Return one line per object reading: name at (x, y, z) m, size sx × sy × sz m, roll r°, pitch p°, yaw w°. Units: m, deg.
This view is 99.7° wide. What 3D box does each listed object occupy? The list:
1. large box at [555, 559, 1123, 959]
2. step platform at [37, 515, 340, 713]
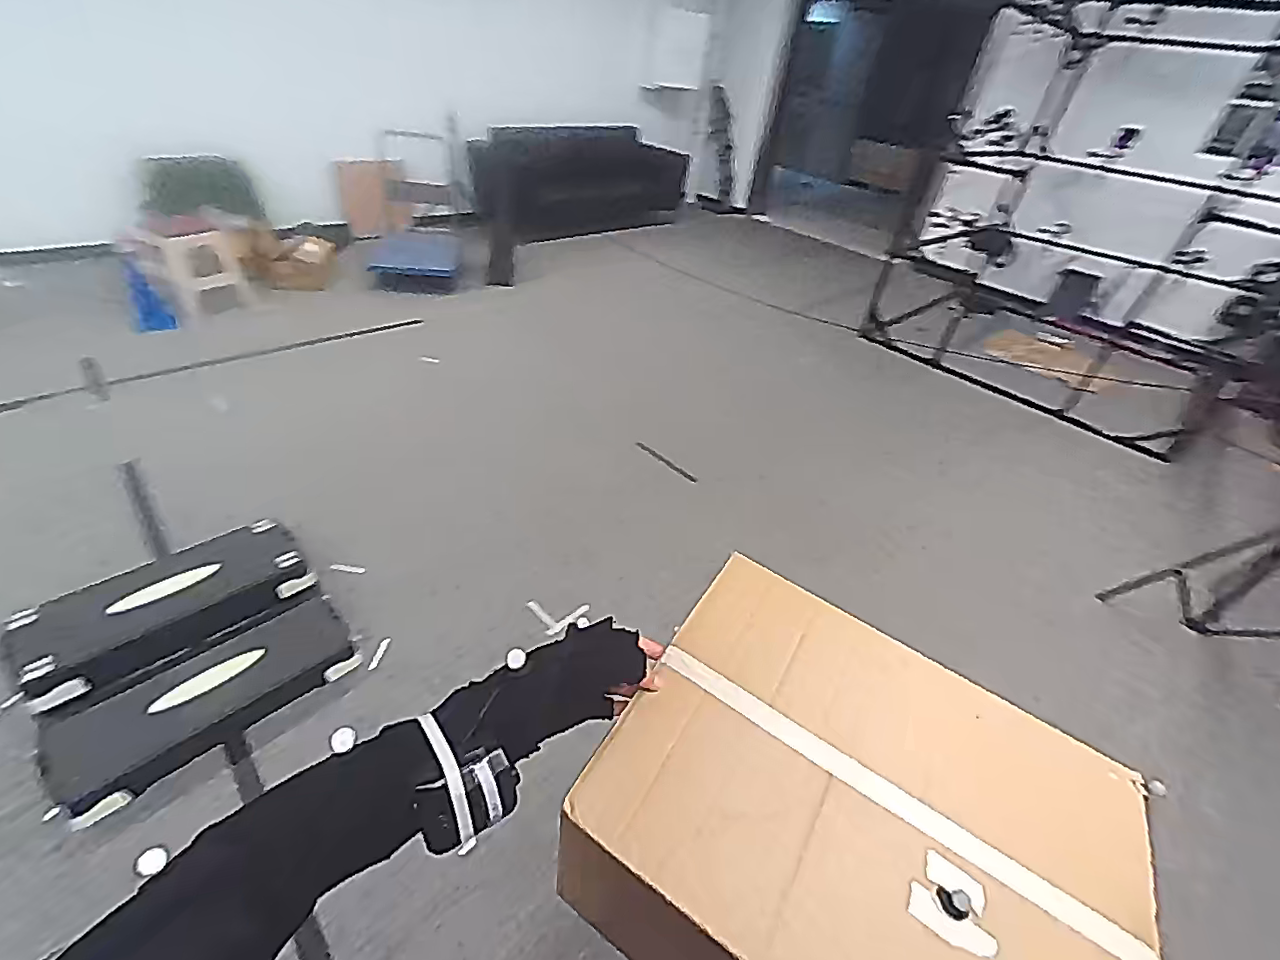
large box at (0.164, 0.360, 0.558) m, size 0.408 × 0.320 × 0.320 m, roll 28°, pitch 46°, yaw 18°
step platform at (-1.312, 0.365, 1.628) m, size 0.286 × 0.204 × 0.684 m, roll 34°, pitch 44°, yaw 29°
